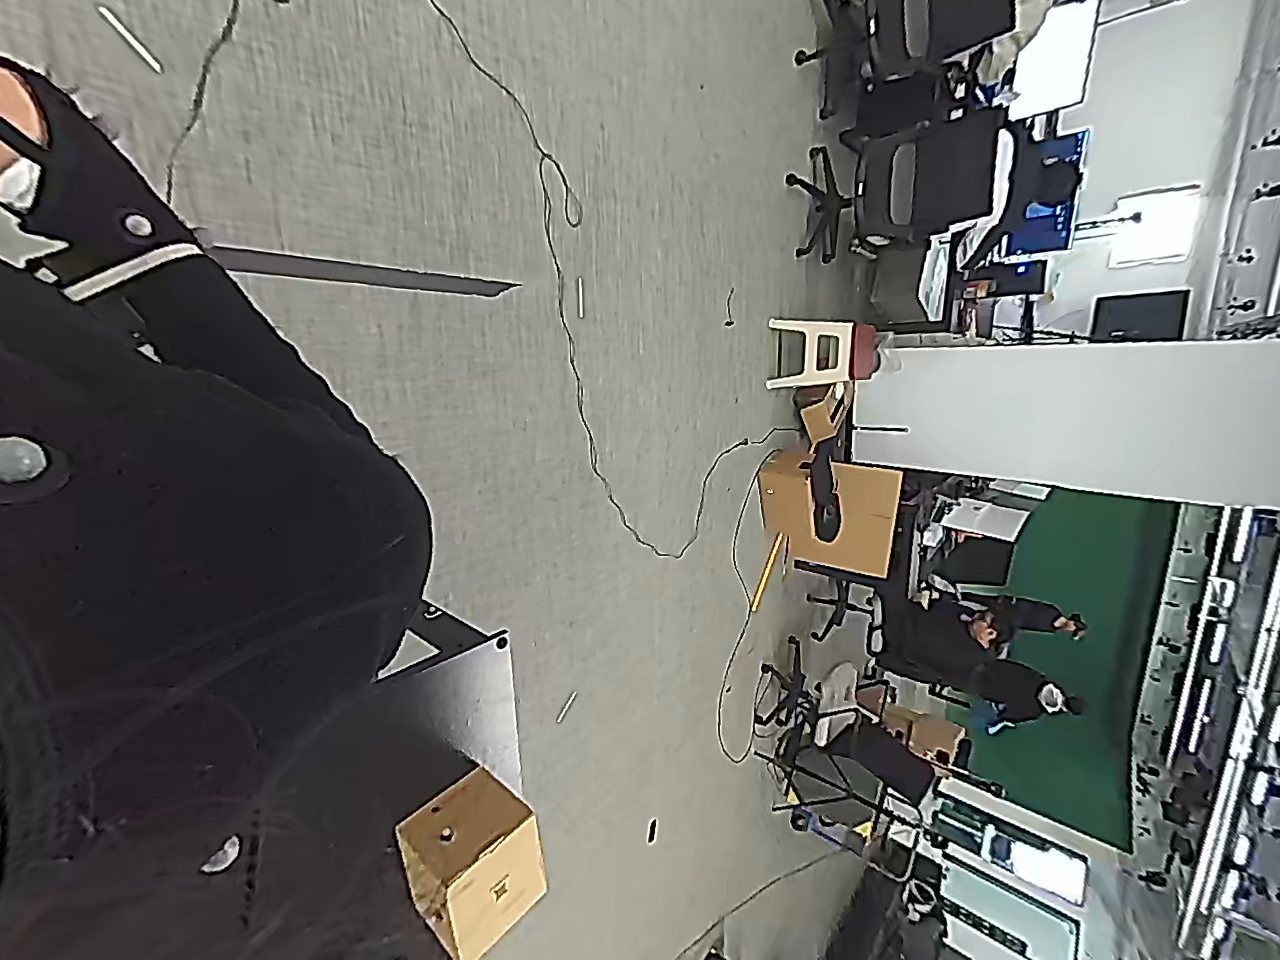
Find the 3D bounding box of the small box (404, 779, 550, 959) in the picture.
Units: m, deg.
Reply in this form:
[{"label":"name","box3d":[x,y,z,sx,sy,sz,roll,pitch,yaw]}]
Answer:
[{"label":"small box","box3d":[-0.278,0.646,0.917,0.168,0.176,0.179,-21,114,-44]}]
